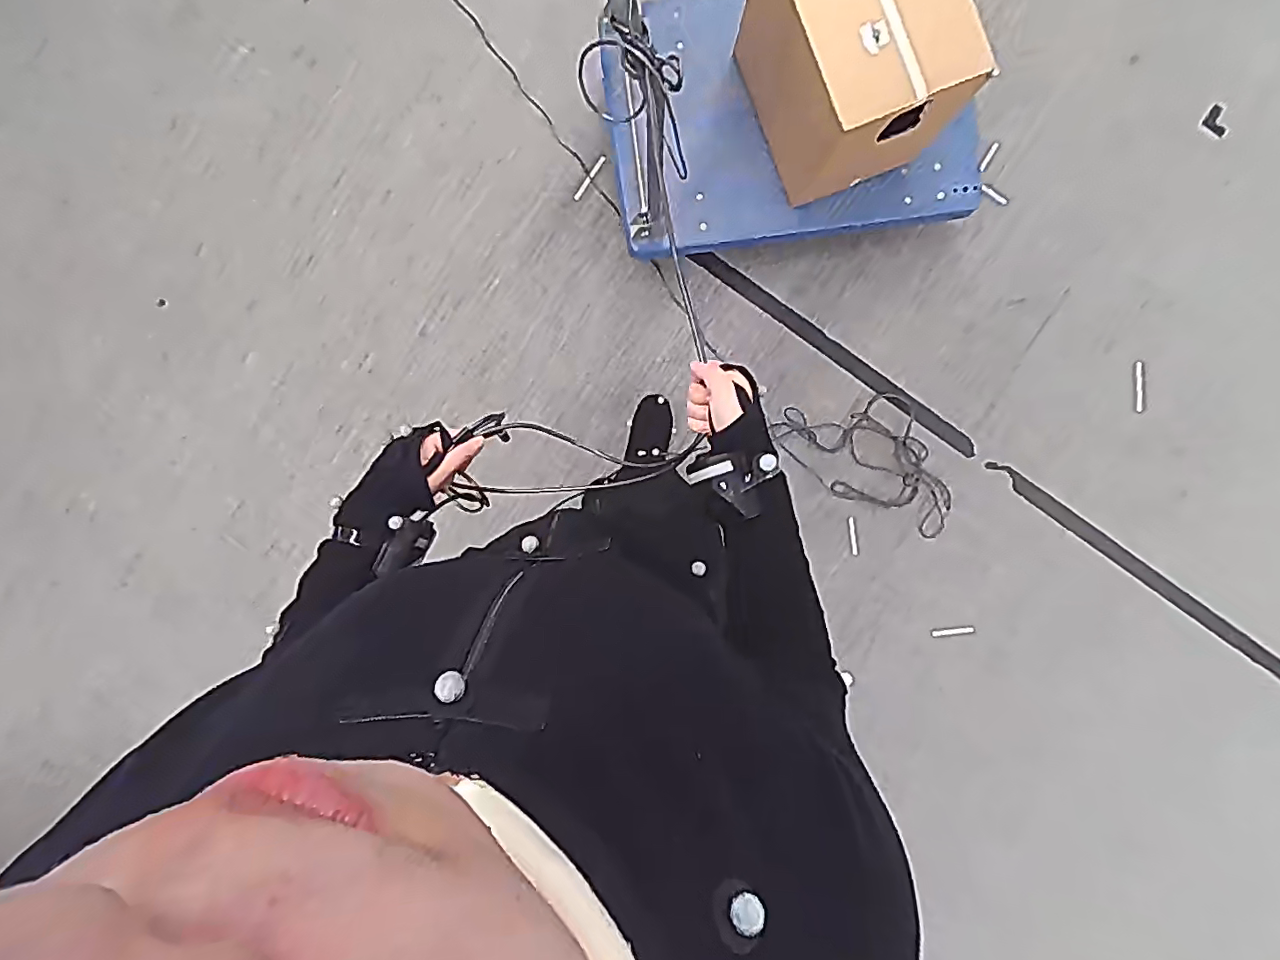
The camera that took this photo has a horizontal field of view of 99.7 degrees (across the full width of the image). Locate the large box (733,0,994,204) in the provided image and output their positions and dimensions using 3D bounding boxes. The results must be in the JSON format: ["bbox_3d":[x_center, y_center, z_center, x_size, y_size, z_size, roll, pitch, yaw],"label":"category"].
[{"bbox_3d":[0.434,-0.884,1.131,0.320,0.320,0.408,-22,94,0],"label":"large box"}]
